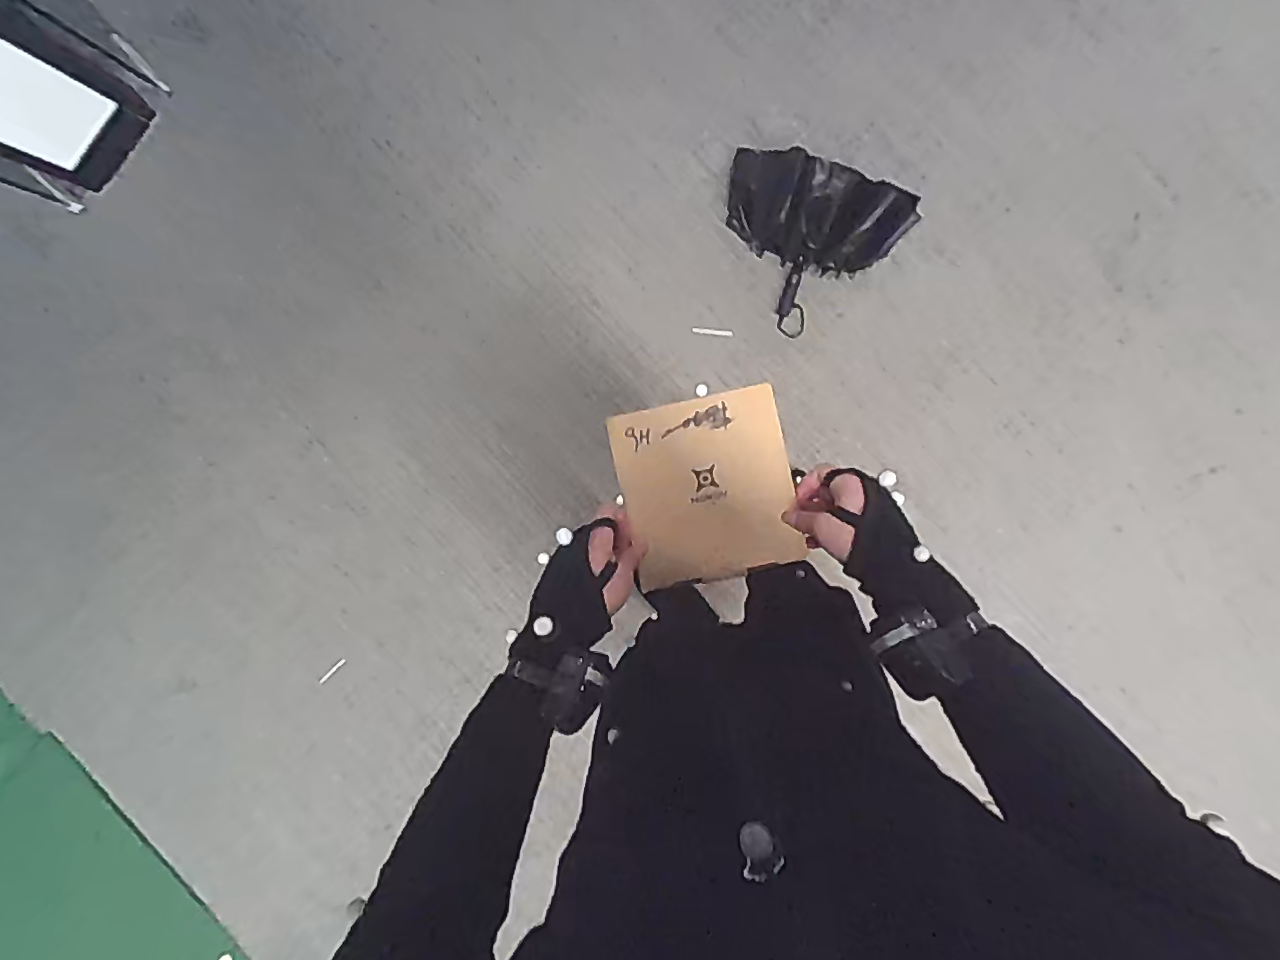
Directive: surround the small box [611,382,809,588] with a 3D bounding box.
[{"bbox_3d":[0.070,0.004,0.601,0.168,0.176,0.179,-12,90,1],"label":"small box"}]
